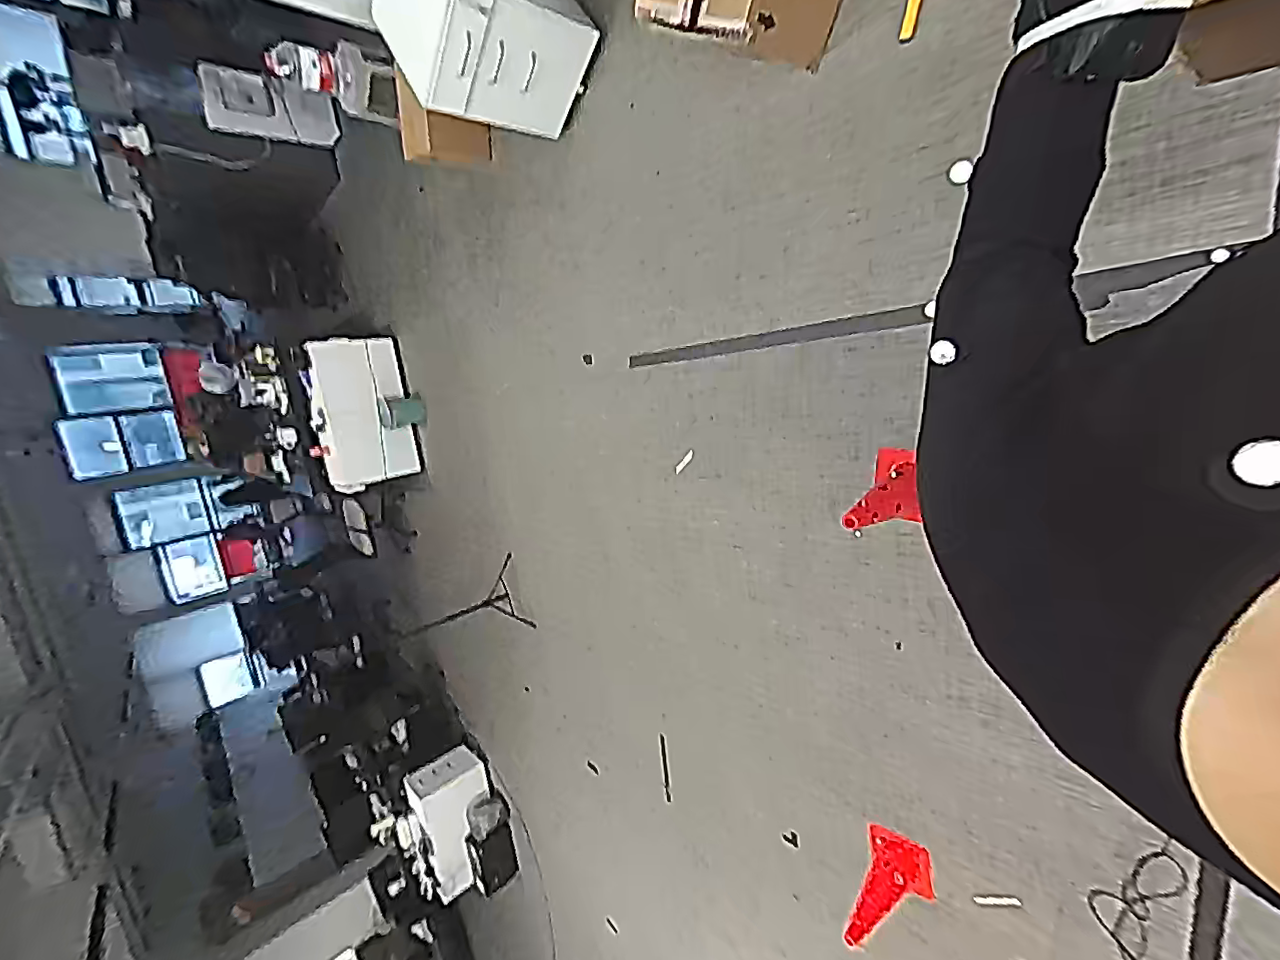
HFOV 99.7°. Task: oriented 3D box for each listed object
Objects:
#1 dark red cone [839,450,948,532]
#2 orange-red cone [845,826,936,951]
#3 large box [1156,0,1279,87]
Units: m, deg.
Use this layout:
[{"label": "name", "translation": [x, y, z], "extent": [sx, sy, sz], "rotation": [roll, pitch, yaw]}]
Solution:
[{"label": "dark red cone", "translation": [0.609, 0.060, 1.364], "extent": [0.201, 0.394, 0.202], "rotation": [12, 112, 45]}, {"label": "orange-red cone", "translation": [0.746, 1.313, 1.685], "extent": [0.198, 0.360, 0.199], "rotation": [2, 106, 49]}, {"label": "large box", "translation": [0.540, -0.445, 0.241], "extent": [0.408, 0.320, 0.320], "rotation": [13, 118, 45]}]
